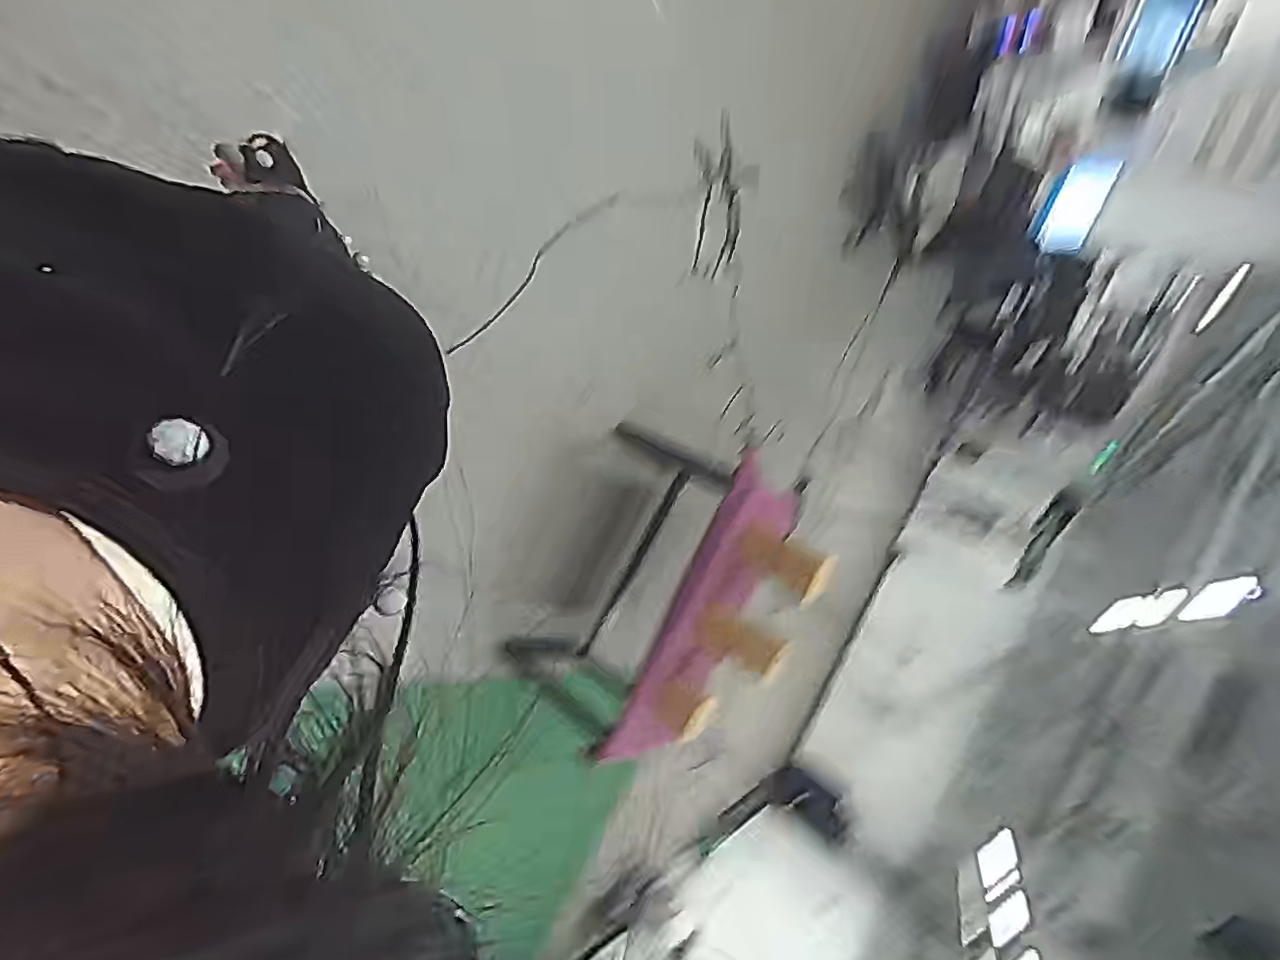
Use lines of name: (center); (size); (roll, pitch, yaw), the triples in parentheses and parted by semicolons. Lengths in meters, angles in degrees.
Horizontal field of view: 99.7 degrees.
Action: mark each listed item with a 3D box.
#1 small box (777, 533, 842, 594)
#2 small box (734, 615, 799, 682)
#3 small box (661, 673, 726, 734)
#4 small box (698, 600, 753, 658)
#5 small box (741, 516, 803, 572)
small box: (0.653, 0.325, 2.102); (0.168, 0.176, 0.179); (17, 96, -55)
small box: (0.488, 0.647, 2.082); (0.179, 0.176, 0.168); (-56, 146, -12)
small box: (0.212, 0.888, 2.161); (0.168, 0.176, 0.179); (-62, 146, -4)
small box: (0.361, 0.598, 2.175); (0.179, 0.176, 0.168); (32, 84, -56)
small box: (0.536, 0.263, 2.196); (0.168, 0.176, 0.179); (21, 95, -56)
